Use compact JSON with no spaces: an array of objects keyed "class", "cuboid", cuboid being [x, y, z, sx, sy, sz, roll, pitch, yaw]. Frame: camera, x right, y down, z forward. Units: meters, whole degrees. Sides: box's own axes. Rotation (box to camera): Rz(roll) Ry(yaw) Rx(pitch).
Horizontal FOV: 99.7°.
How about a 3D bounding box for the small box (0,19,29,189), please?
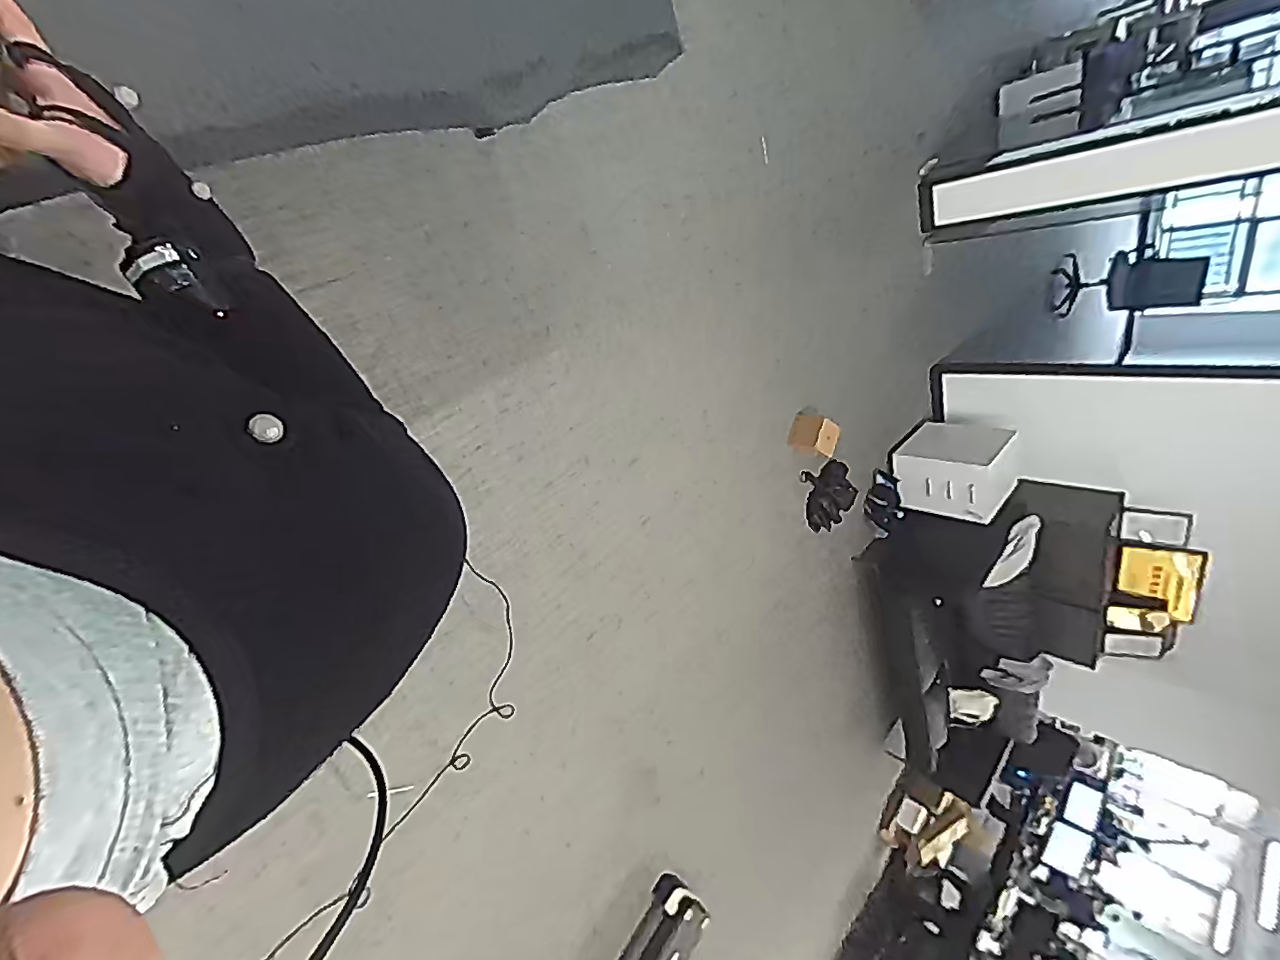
[{"class":"small box","cuboid":[-0.462,-0.272,0.278,0.168,0.176,0.179,-10,126,-40]}]
